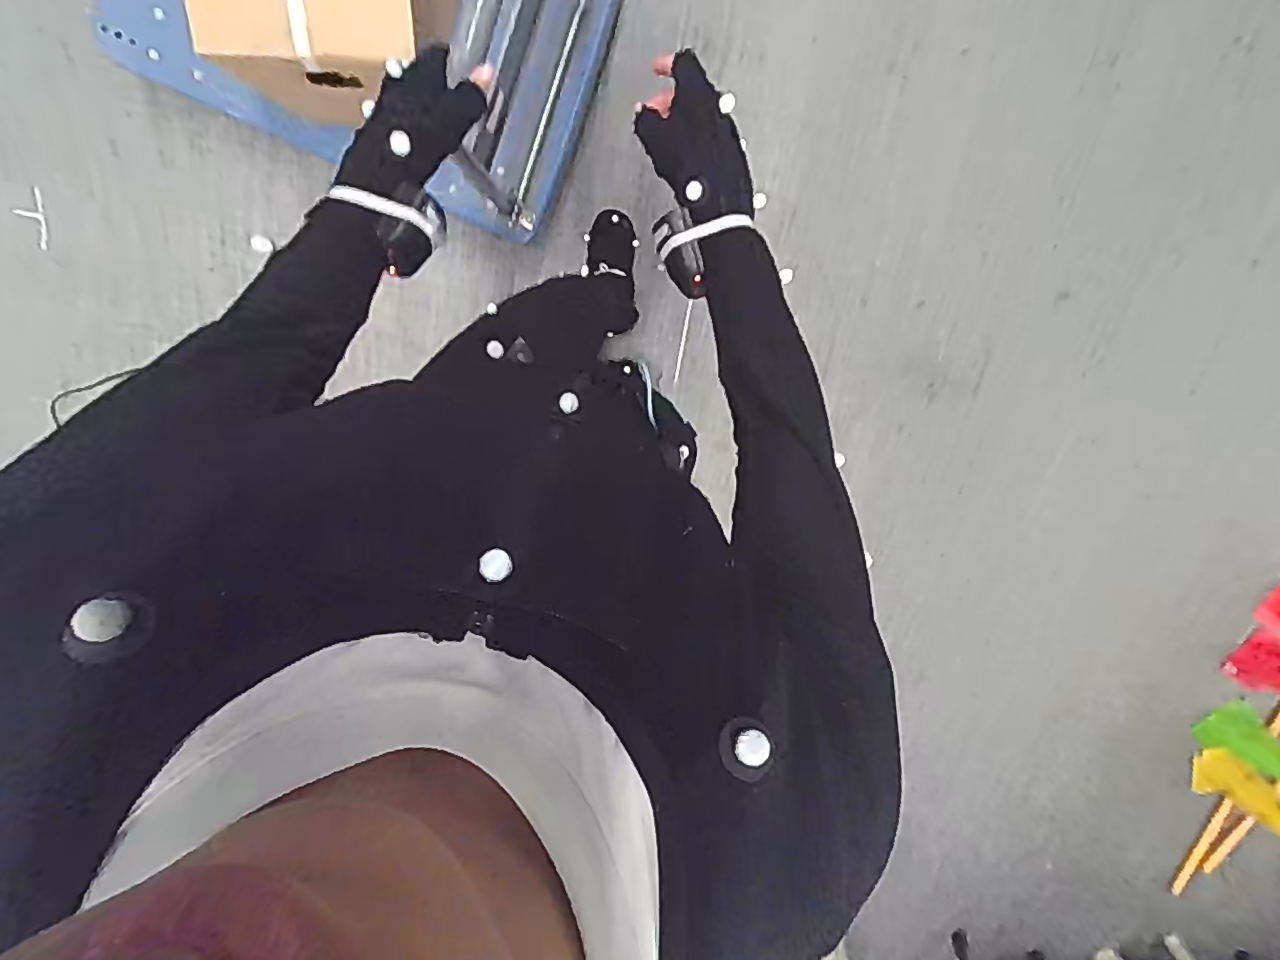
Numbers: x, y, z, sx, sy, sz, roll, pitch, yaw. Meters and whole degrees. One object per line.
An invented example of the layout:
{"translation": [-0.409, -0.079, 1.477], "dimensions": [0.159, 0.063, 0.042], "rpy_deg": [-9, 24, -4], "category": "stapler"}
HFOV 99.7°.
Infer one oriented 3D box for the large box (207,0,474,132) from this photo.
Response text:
{"translation": [-0.473, -0.846, 0.881], "dimensions": [0.320, 0.320, 0.408], "rpy_deg": [0, 108, -2], "category": "large box"}
